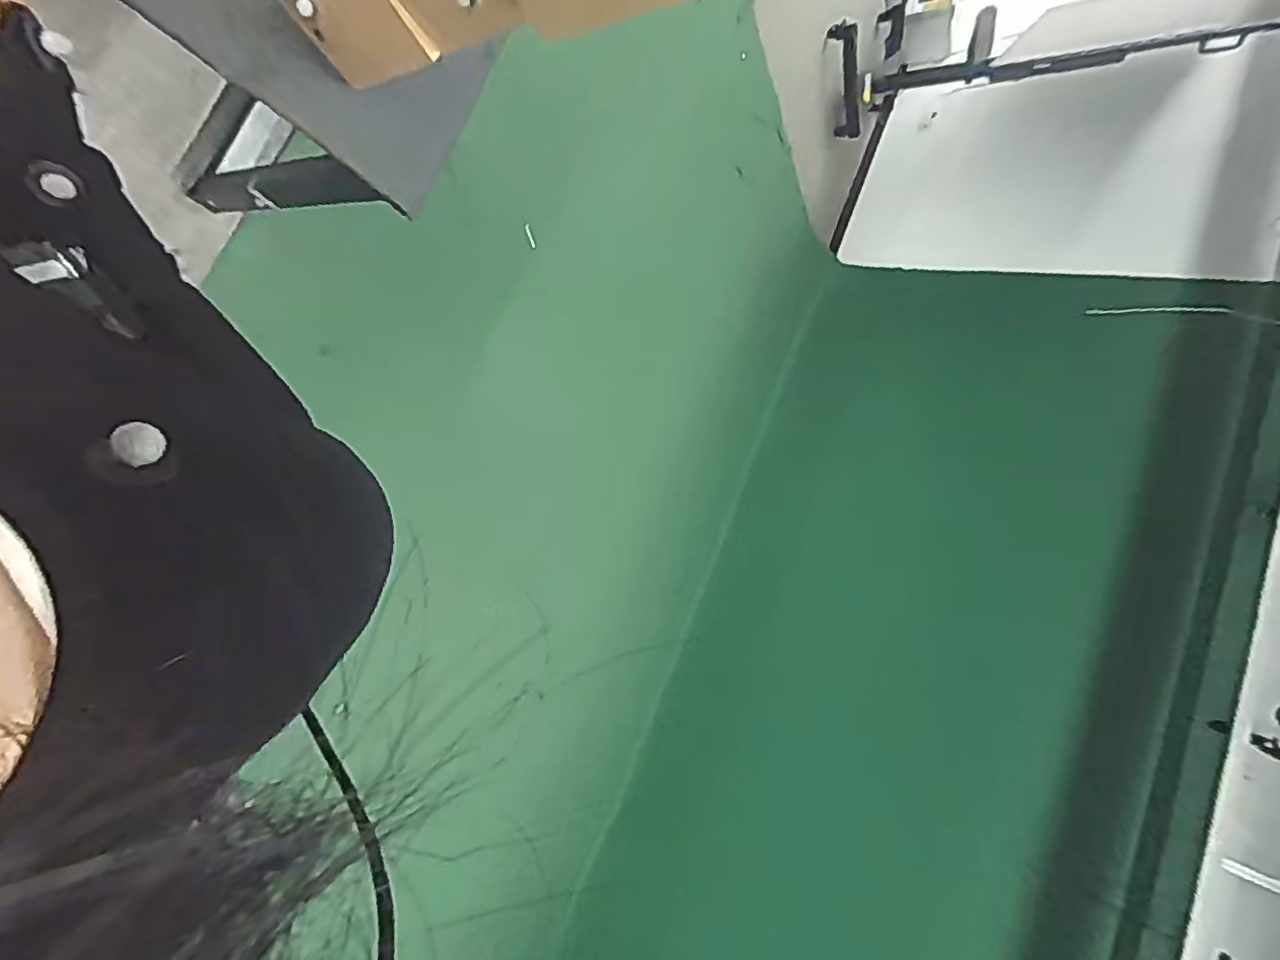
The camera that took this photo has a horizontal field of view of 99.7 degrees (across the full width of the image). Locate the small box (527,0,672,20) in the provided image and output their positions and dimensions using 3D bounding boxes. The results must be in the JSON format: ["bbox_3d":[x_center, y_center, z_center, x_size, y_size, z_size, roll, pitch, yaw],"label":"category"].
[{"bbox_3d":[-0.028,-0.490,0.399,0.179,0.176,0.168,40,67,-54],"label":"small box"}]

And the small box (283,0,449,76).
[{"bbox_3d":[-0.288,-0.581,0.576,0.168,0.176,0.179,45,66,-53],"label":"small box"}]

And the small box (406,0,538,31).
[{"bbox_3d":[-0.161,-0.550,0.480,0.179,0.176,0.168,31,75,-55],"label":"small box"}]
